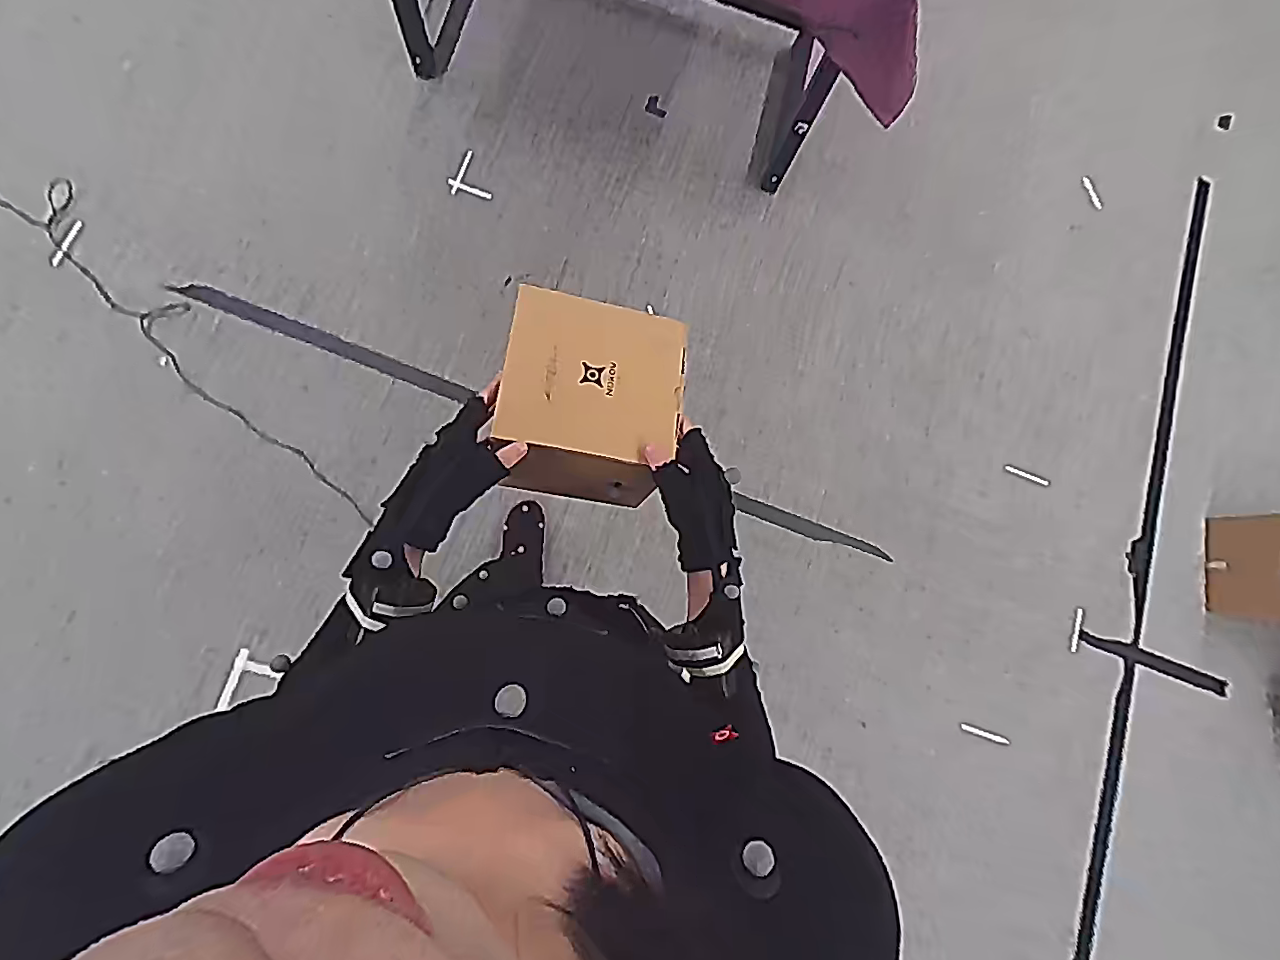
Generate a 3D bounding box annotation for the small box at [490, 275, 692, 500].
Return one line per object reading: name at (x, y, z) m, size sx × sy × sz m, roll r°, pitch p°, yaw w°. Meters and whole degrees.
small box at (-0.057, -0.083, 0.582) m, size 0.179 × 0.176 × 0.168 m, roll 9°, pitch 71°, yaw -10°
